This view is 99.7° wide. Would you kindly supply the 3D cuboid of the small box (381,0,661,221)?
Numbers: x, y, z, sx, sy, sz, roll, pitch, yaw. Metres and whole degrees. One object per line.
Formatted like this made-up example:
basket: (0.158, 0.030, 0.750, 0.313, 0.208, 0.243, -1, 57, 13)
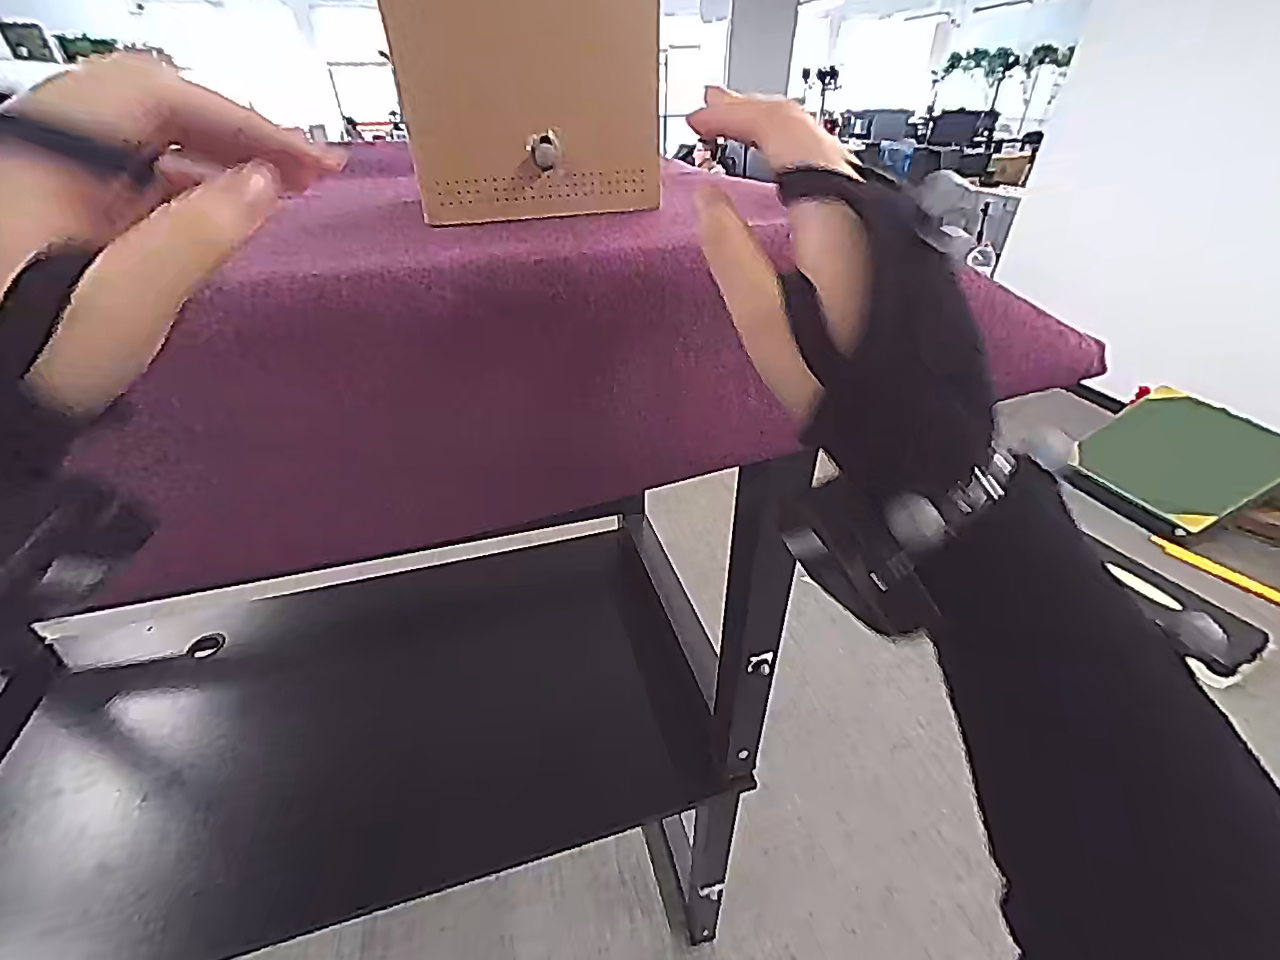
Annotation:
small box: (-0.089, -0.306, 0.413, 0.179, 0.176, 0.168, -11, 35, -14)
